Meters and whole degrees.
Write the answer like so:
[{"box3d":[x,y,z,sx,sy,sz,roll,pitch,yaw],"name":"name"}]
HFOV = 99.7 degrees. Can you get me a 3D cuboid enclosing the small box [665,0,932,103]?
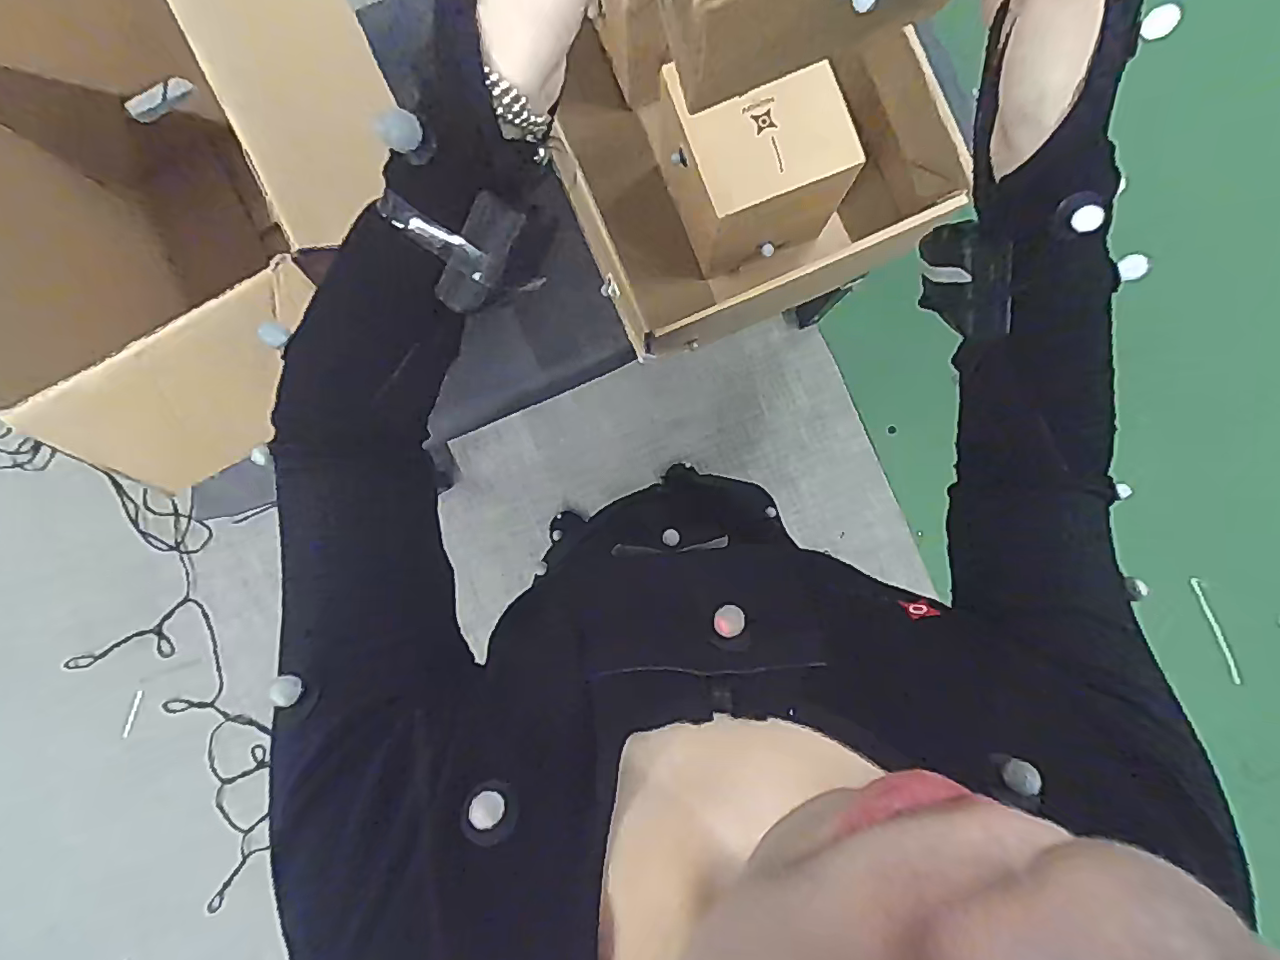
[{"box3d":[0.087,-0.331,0.273,0.179,0.176,0.168,-17,109,9],"name":"small box"}]
